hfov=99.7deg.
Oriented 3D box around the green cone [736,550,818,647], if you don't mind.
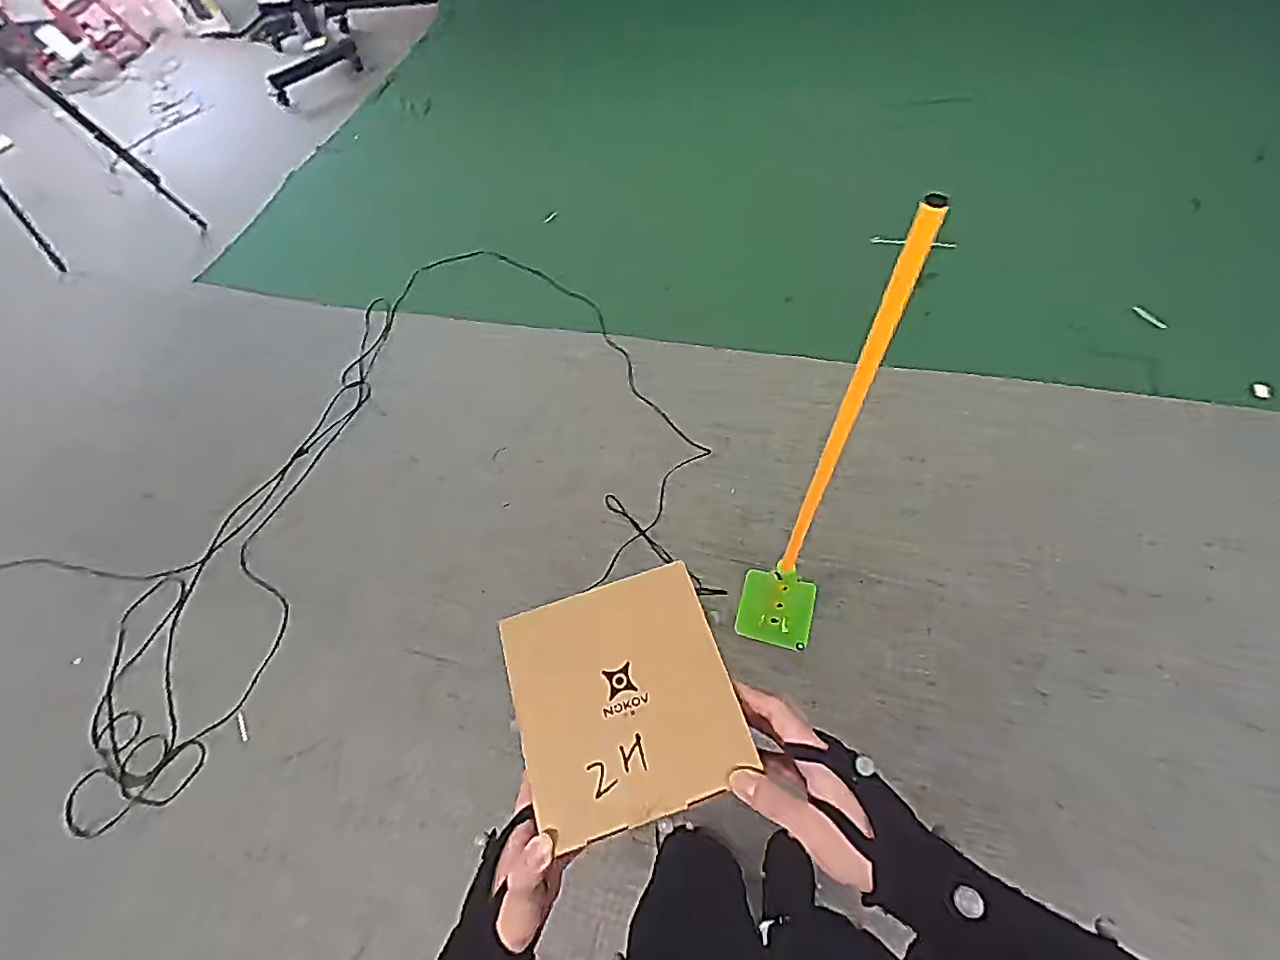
[{"bbox_3d":[0.358,0.263,1.371,0.202,0.368,0.200,11,63,17],"label":"green cone"}]
